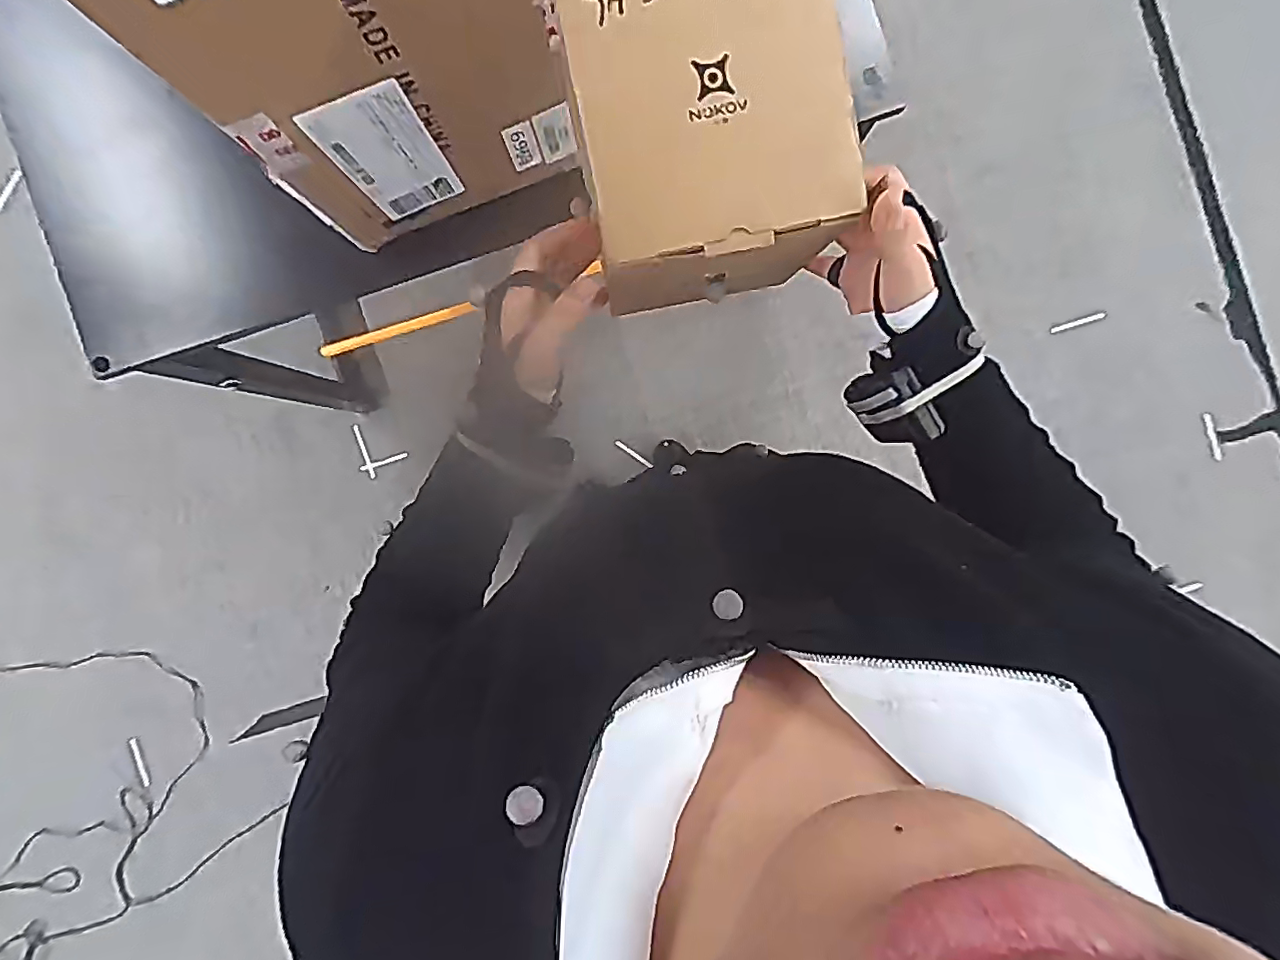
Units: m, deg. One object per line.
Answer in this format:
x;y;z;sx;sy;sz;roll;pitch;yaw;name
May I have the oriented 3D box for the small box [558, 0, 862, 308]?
0.043;-0.239;0.409;0.168;0.176;0.179;-12;97;-2;small box
